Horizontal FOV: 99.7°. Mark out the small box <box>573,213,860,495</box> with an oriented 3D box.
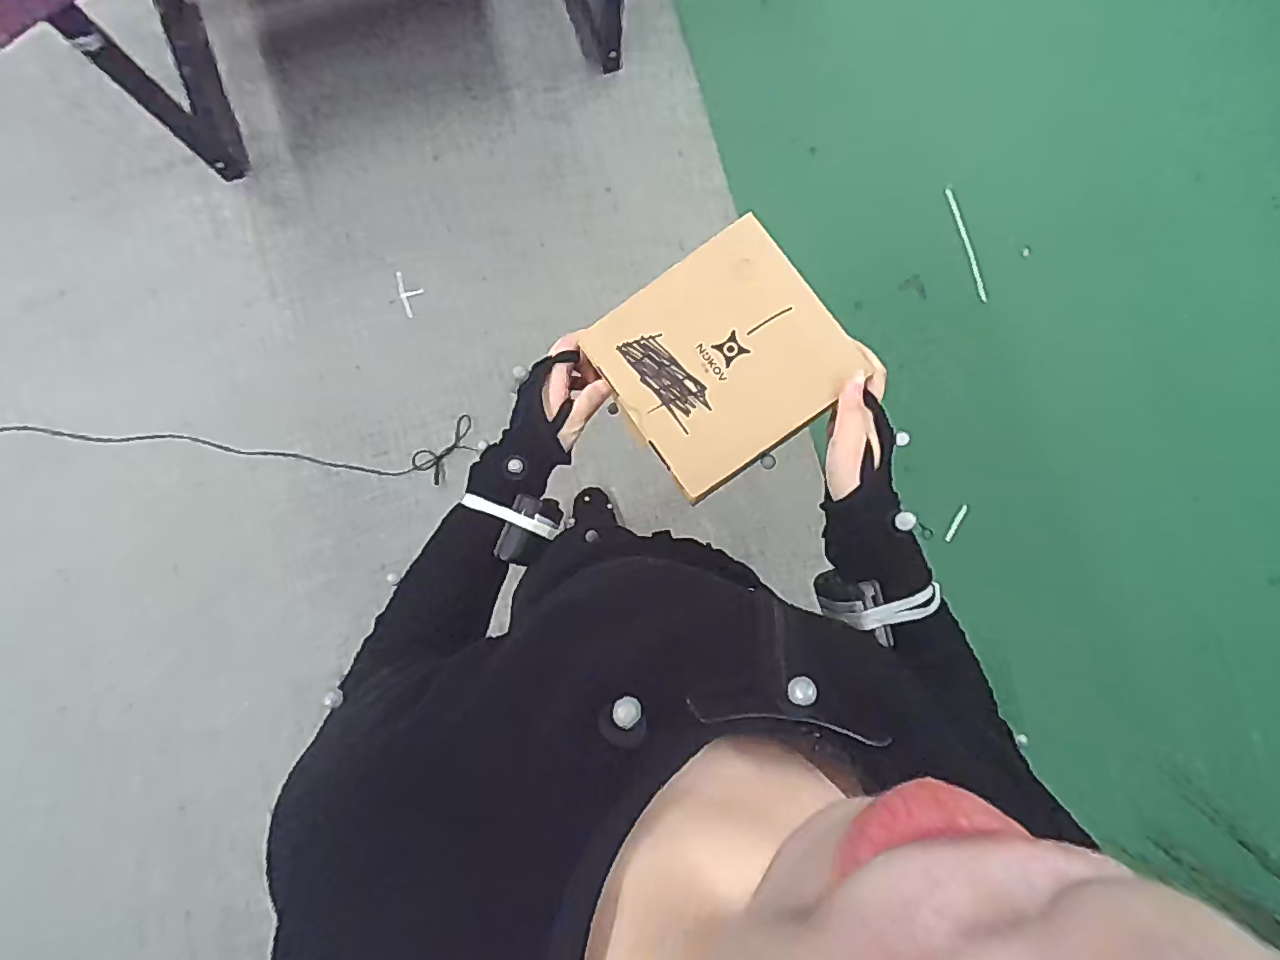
[{"bbox_3d":[0.066,-0.097,0.511,0.179,0.176,0.168,-35,84,2],"label":"small box"}]
